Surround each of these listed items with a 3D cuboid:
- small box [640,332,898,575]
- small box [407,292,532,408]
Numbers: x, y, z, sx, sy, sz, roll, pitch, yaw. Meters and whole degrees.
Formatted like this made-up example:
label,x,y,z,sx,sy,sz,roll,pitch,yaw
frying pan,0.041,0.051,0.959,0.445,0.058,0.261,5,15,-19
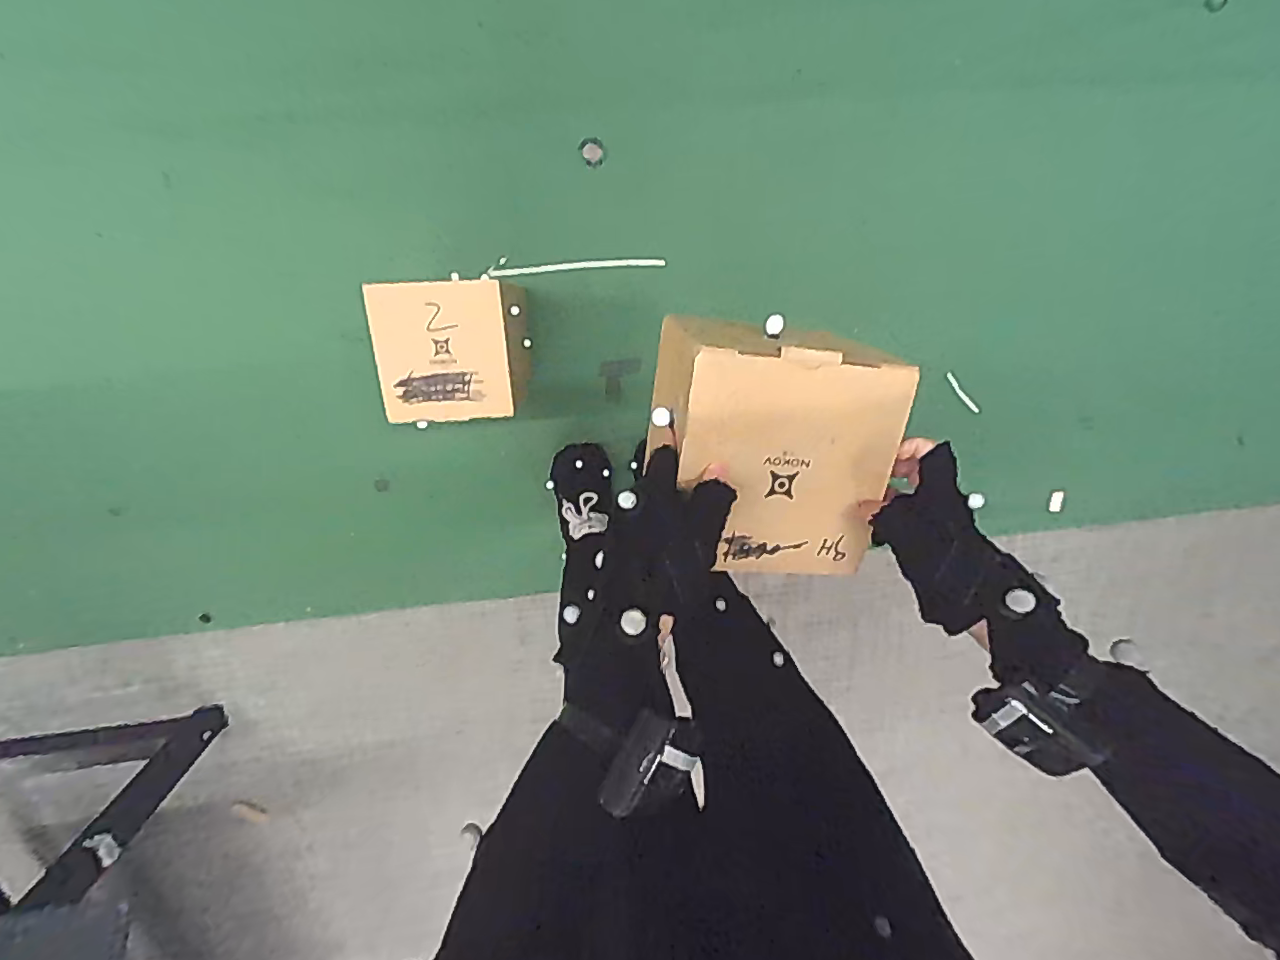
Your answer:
label,x,y,z,sx,sy,sz,roll,pitch,yaw
small box,0.095,-0.034,0.492,0.168,0.176,0.179,4,112,-7
small box,-0.280,-0.228,0.927,0.168,0.176,0.179,-2,109,-5
